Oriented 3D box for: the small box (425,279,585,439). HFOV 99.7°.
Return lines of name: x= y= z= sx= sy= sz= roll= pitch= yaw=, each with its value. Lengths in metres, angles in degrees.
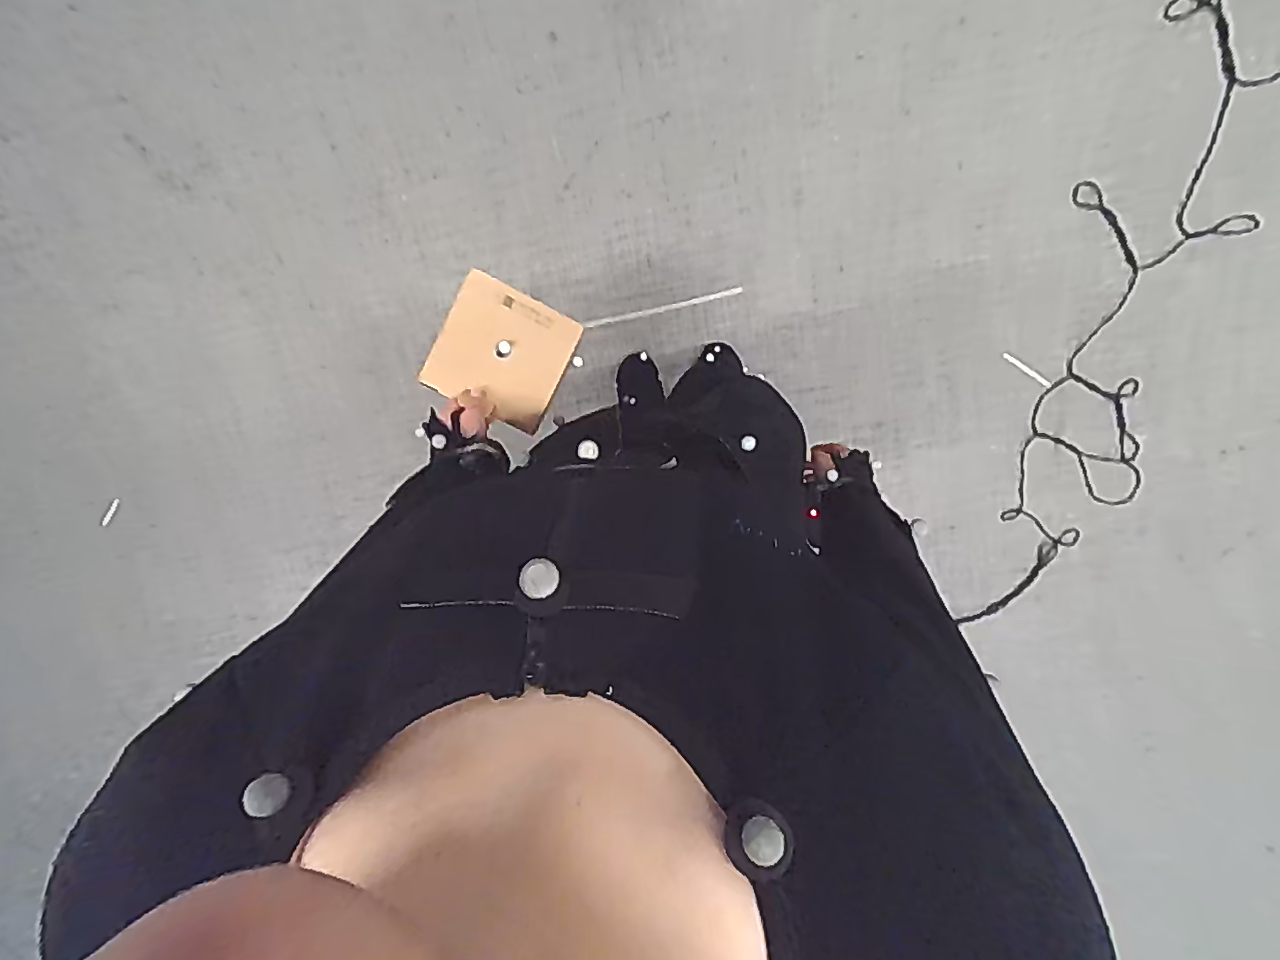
small box: x=-0.191 y=-0.172 z=0.804 sx=0.168 sy=0.179 sz=0.176 roll=26 pitch=90 yaw=-11
